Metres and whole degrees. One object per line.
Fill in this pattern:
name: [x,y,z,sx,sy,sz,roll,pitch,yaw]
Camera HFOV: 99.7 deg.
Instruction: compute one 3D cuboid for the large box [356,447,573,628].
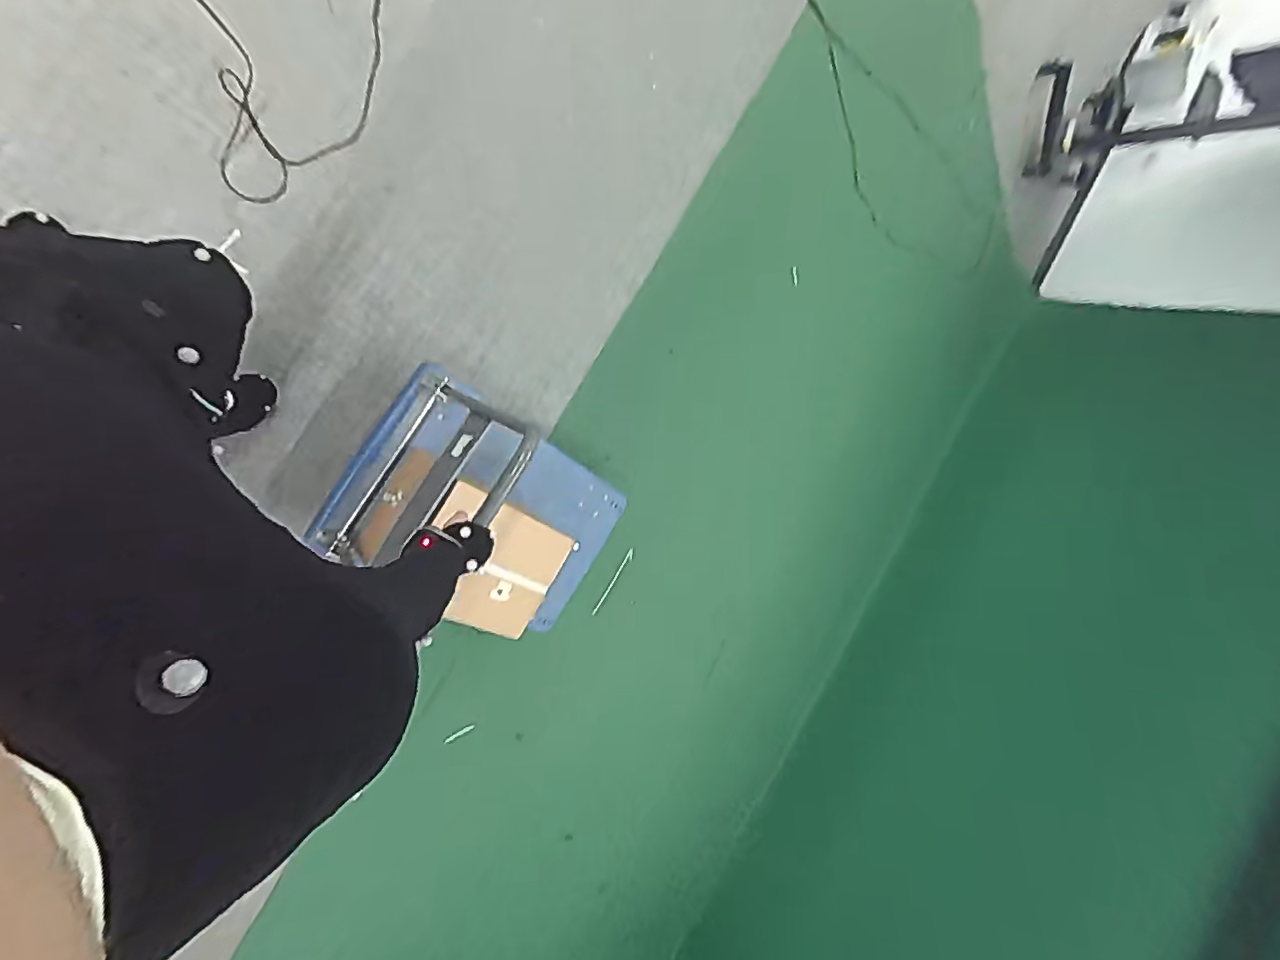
large box: [-0.474,0.156,1.473,0.408,0.320,0.320,36,83,-43]
